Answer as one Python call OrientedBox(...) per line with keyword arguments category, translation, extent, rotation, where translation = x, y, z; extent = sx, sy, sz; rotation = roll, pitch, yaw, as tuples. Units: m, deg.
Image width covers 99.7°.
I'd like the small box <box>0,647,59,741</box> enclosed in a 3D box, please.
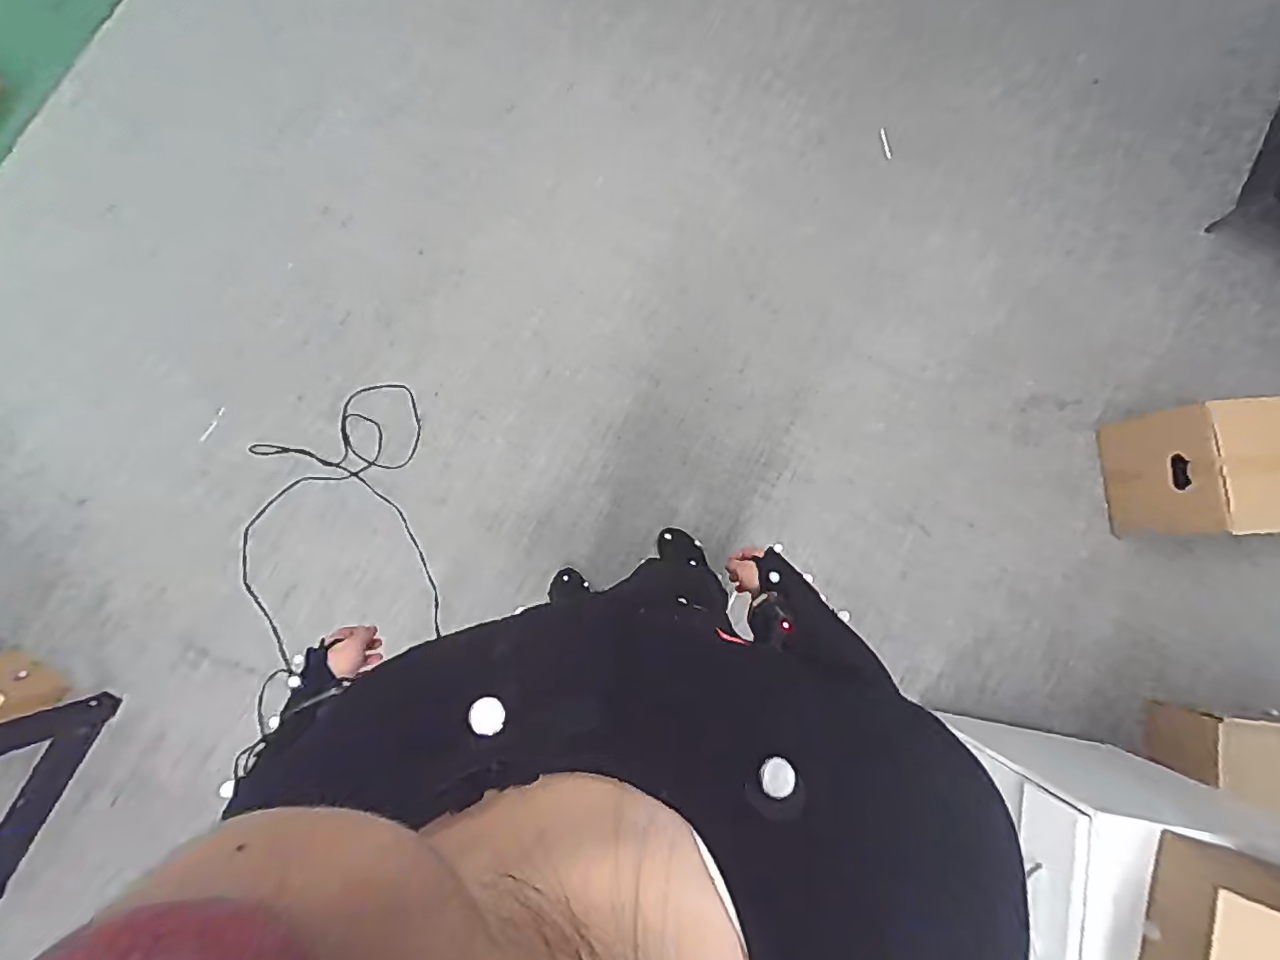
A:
OrientedBox(category="small box", translation=(-1.631, 0.543, 1.346), extent=(0.168, 0.176, 0.179), rotation=(33, 84, 2))
